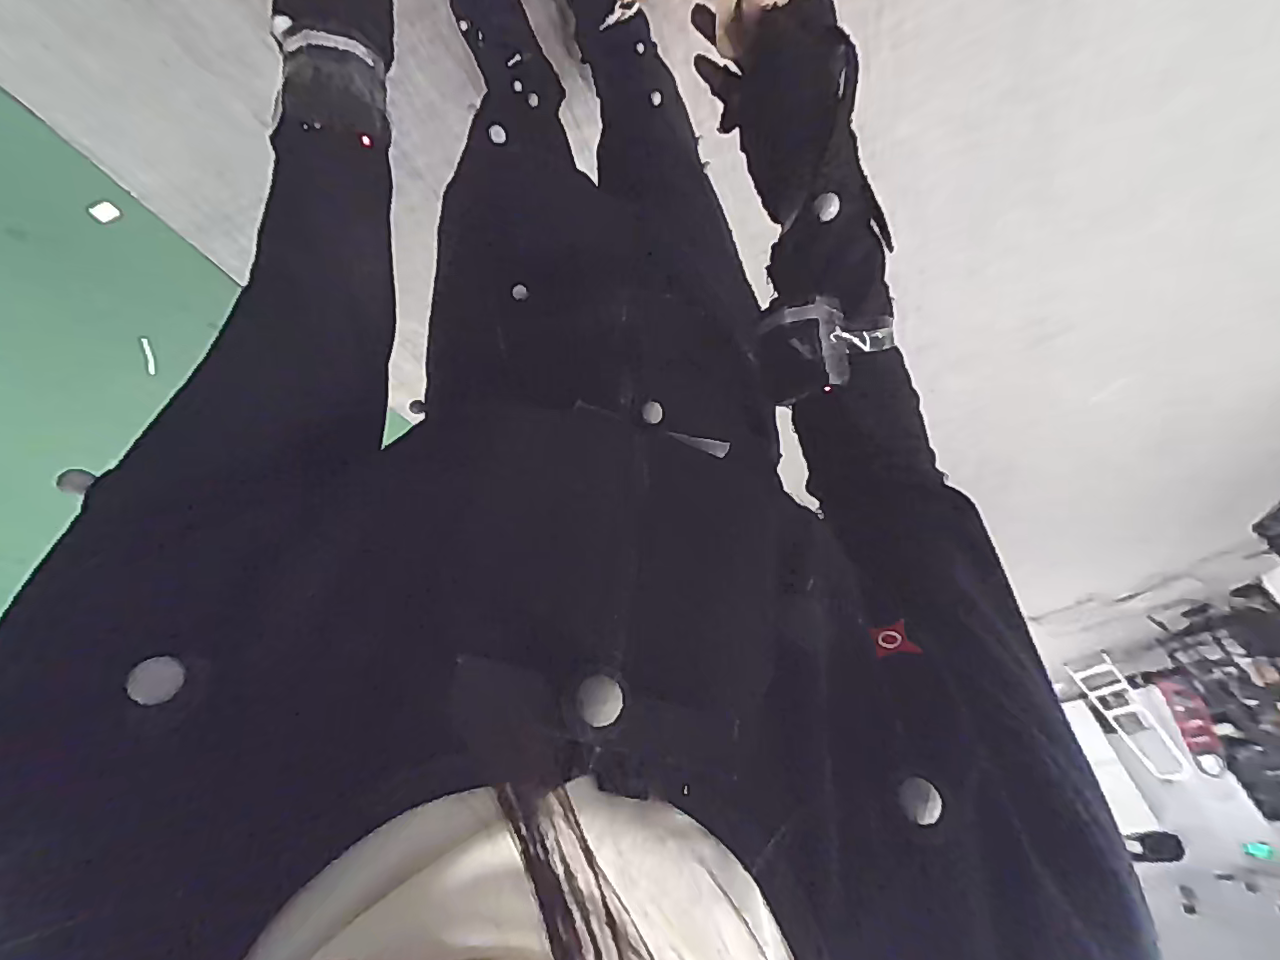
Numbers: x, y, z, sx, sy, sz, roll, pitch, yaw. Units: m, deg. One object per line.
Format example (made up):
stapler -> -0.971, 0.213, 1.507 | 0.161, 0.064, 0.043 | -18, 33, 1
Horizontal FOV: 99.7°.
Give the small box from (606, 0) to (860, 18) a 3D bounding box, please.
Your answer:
small box -> 0.051, -0.394, 0.300 | 0.168, 0.176, 0.179 | -8, 142, -3
